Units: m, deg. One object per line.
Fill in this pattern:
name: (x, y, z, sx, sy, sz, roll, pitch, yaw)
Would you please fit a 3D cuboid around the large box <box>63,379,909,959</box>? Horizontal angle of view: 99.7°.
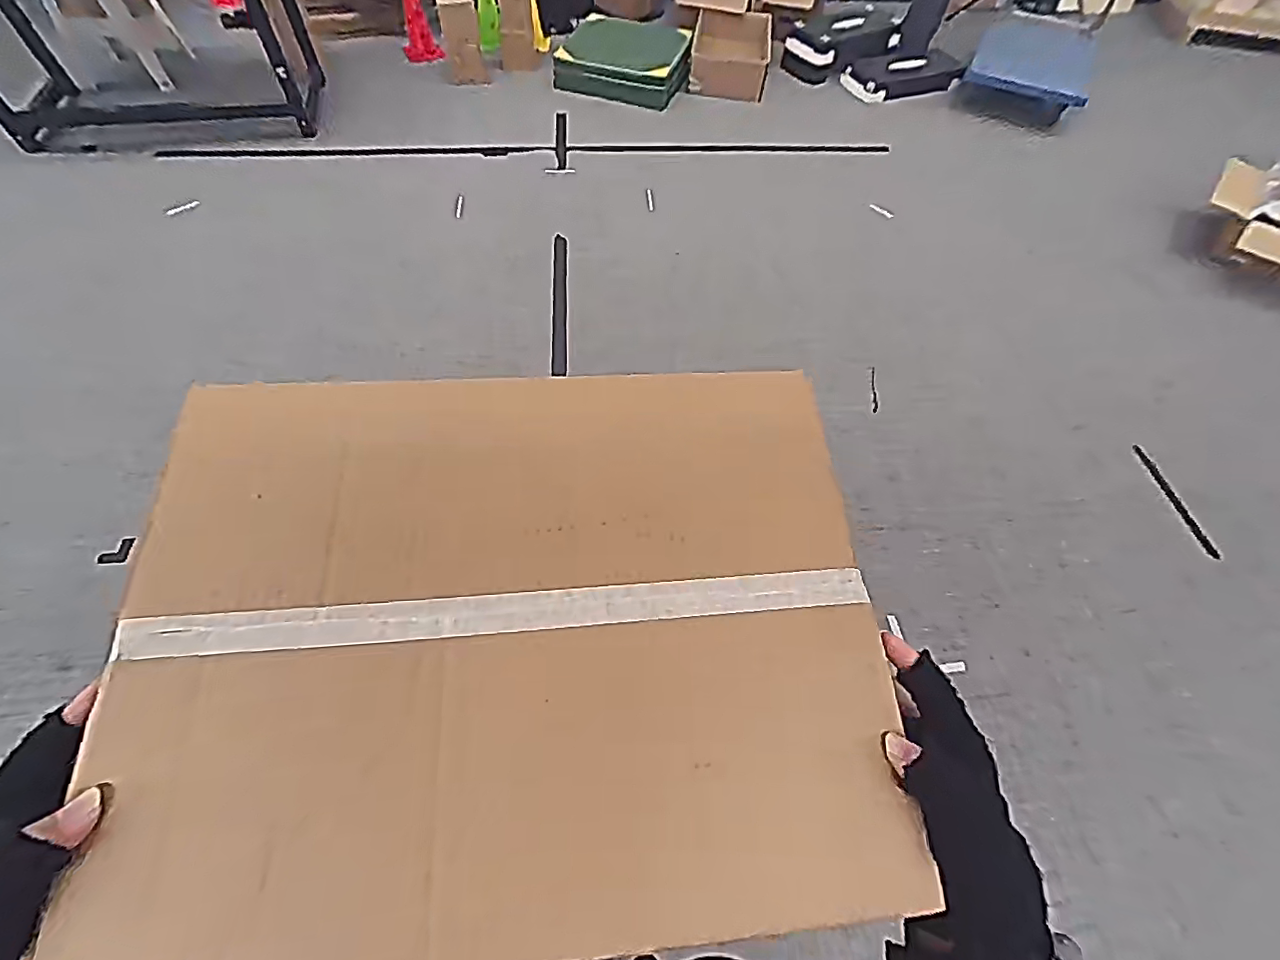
large box: (-0.080, 0.138, 0.447, 0.408, 0.320, 0.320, -3, 66, -6)
